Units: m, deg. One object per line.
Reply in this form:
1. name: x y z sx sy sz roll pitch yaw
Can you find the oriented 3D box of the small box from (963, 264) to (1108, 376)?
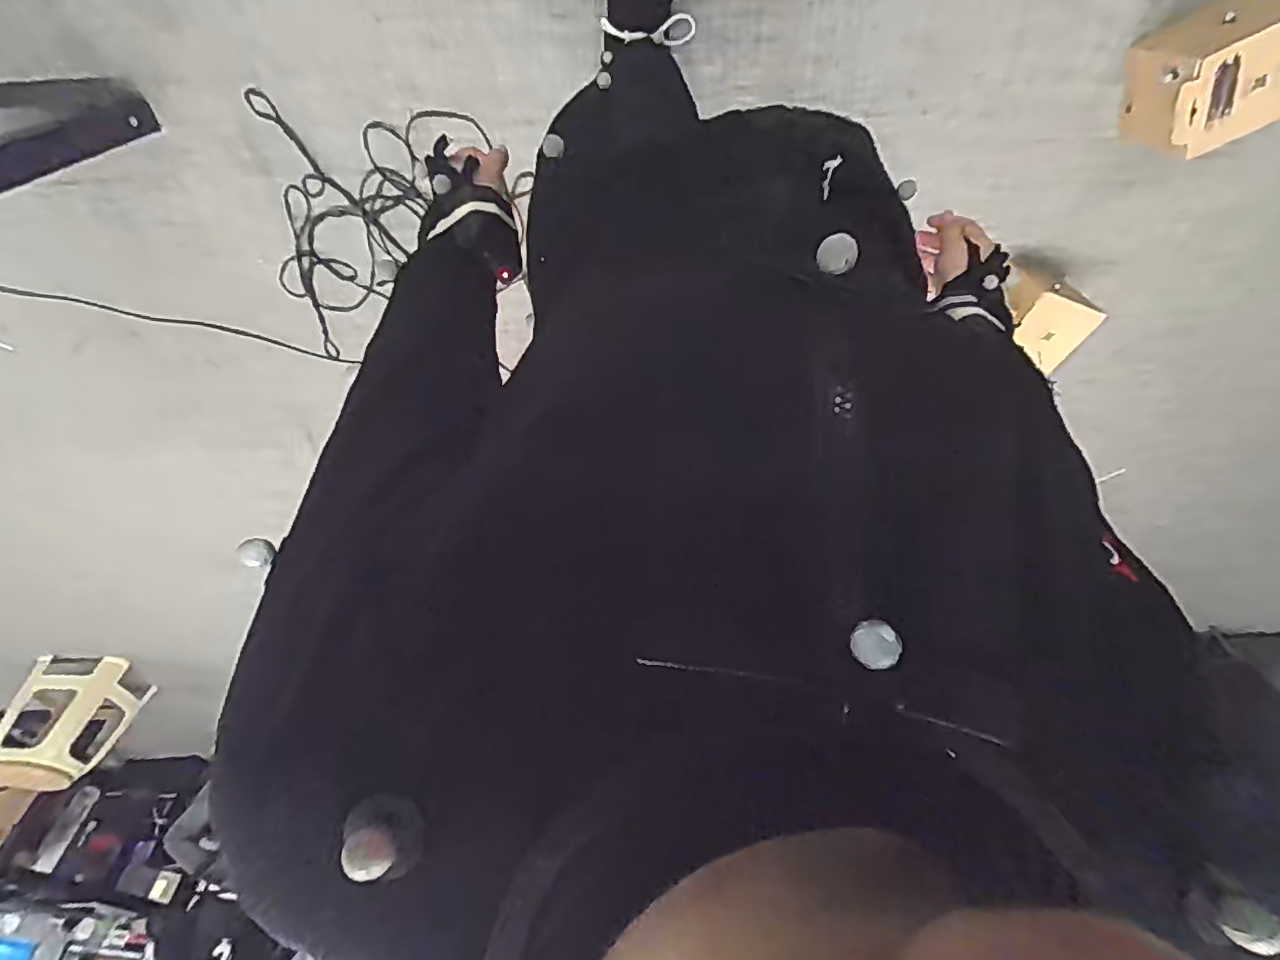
1. small box: 0.905 -0.374 1.255 0.179 0.176 0.168 13 133 -13
